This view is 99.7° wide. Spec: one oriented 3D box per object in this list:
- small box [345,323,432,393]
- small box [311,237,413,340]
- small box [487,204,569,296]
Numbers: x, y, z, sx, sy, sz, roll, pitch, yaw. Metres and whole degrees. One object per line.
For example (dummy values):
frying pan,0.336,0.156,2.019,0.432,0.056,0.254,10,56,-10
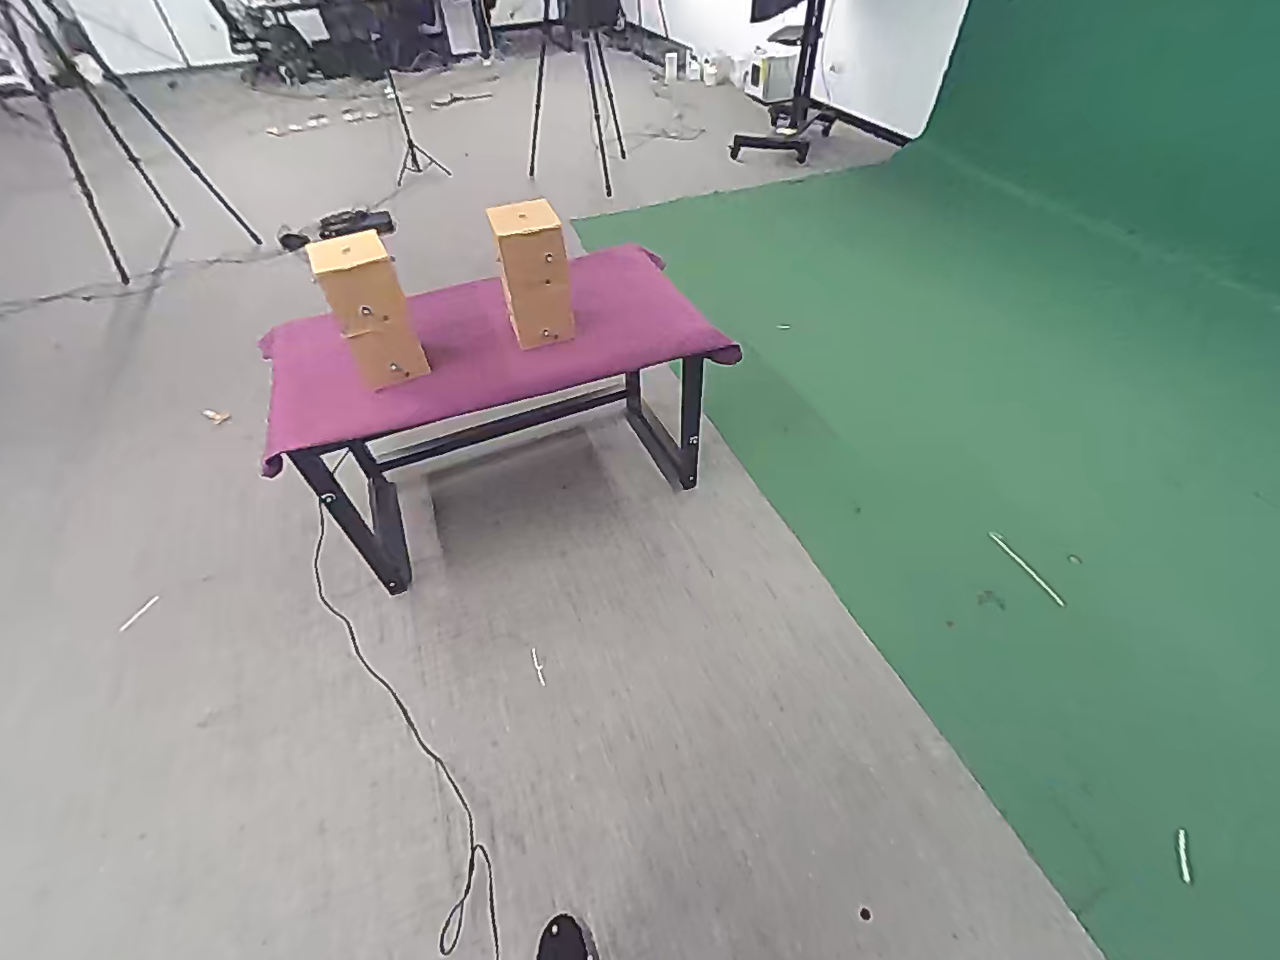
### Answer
small box,-0.687,-0.367,1.470,0.168,0.176,0.179,-22,51,-16
small box,-0.691,-0.479,1.353,0.168,0.176,0.179,-23,52,-18
small box,-0.297,-0.609,1.449,0.168,0.176,0.179,-17,50,-12
